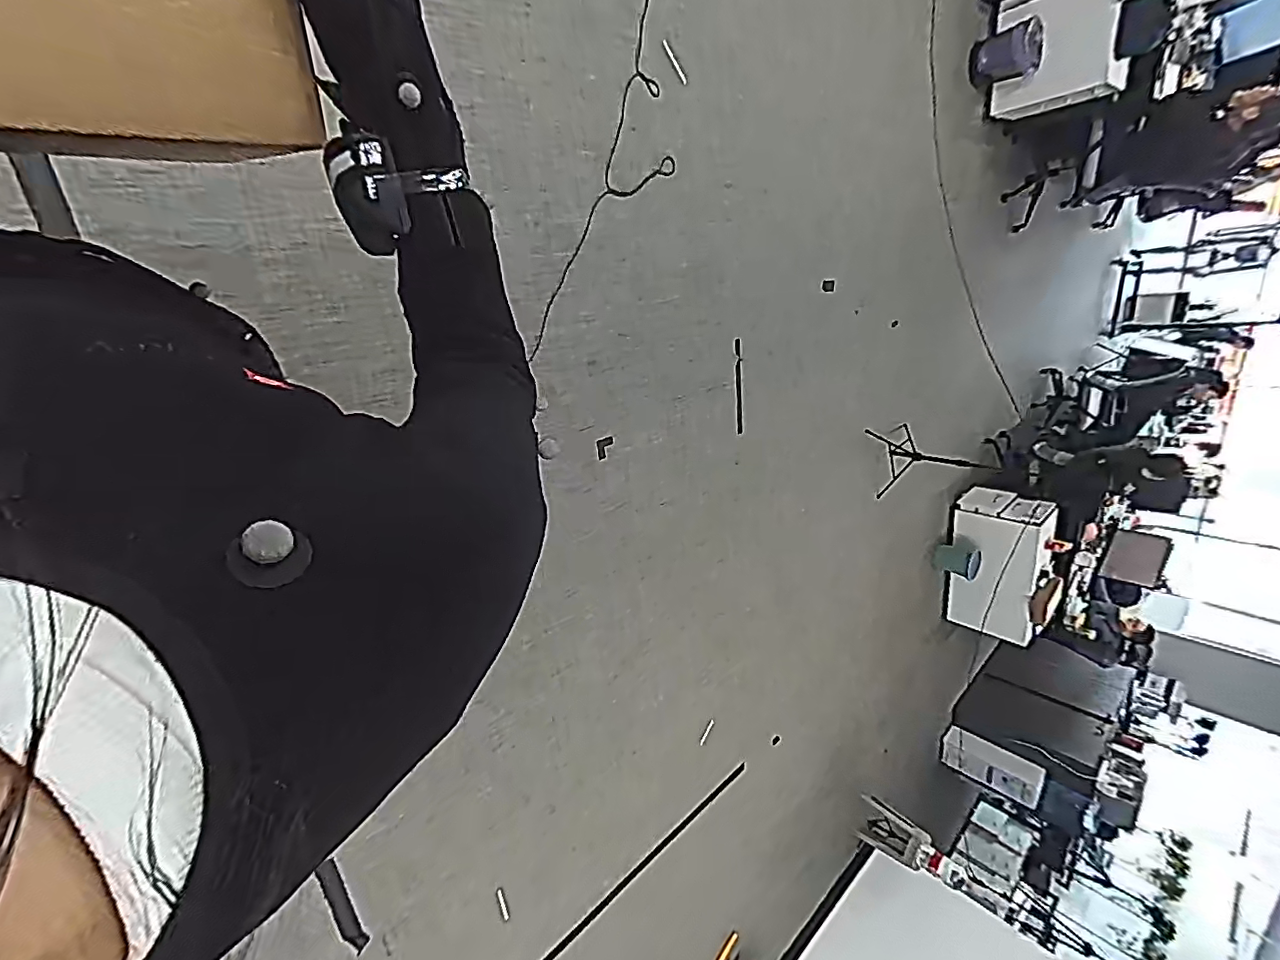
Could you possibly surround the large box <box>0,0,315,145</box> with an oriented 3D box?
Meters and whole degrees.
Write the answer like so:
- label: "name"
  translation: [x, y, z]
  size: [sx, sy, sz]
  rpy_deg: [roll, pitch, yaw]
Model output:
- label: "large box"
  translation: [-0.460, -0.359, 0.266]
  size: [0.408, 0.320, 0.320]
  rpy_deg: [-23, 128, -38]
